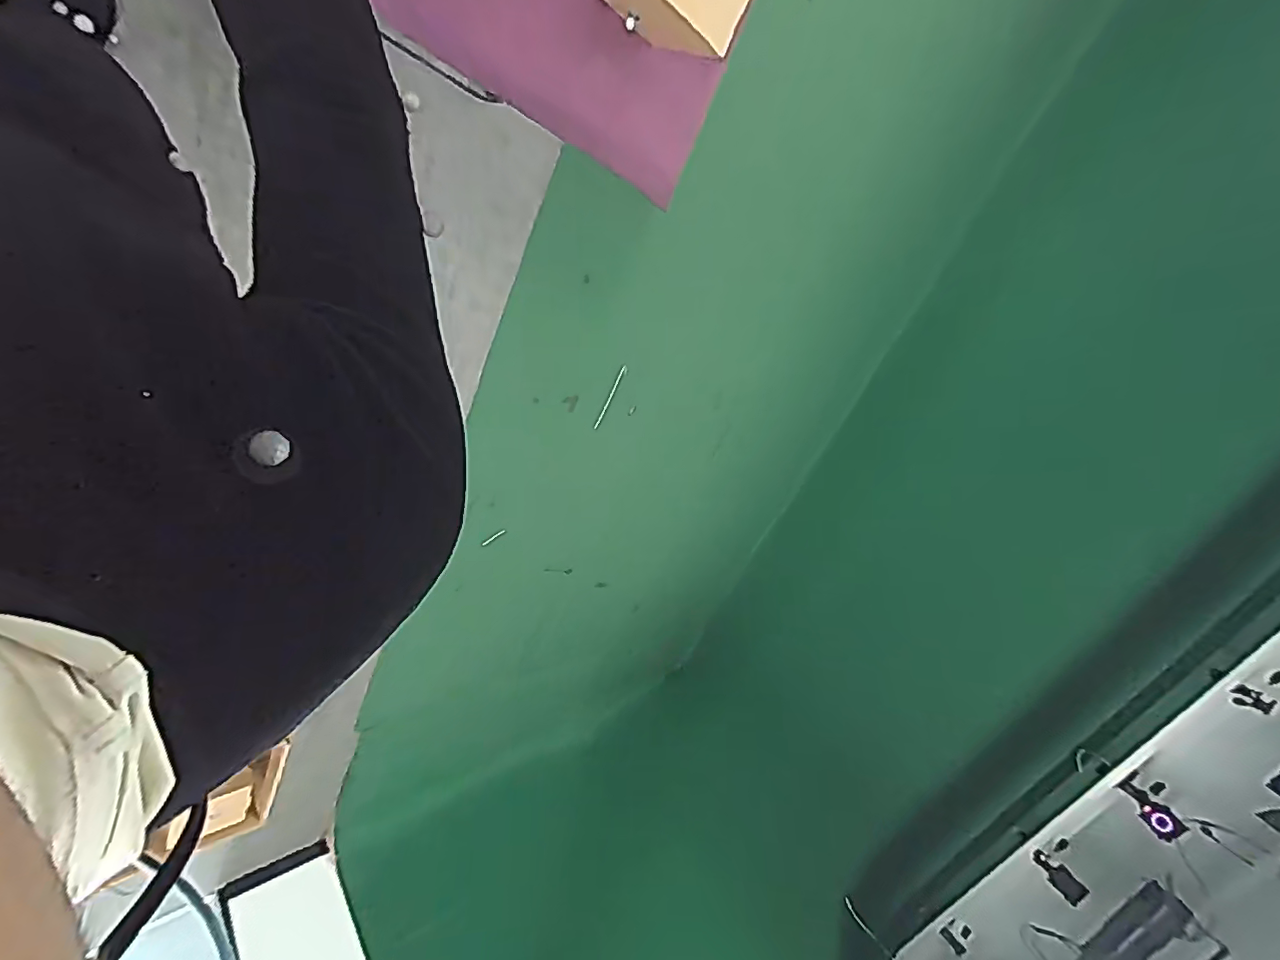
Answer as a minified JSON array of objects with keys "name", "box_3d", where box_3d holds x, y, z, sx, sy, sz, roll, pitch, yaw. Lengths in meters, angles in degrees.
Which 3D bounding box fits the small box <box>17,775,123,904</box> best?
[{"name":"small box","box_3d":[-1.401,0.874,1.330,0.168,0.176,0.179,4,121,-49]}]

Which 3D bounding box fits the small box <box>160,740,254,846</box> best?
[{"name":"small box","box_3d":[-1.226,0.873,1.527,0.179,0.176,0.168,2,122,-48]}]

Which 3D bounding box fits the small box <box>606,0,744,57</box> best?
[{"name":"small box","box_3d":[0.046,-0.739,0.750,0.179,0.176,0.168,0,124,-49]}]
